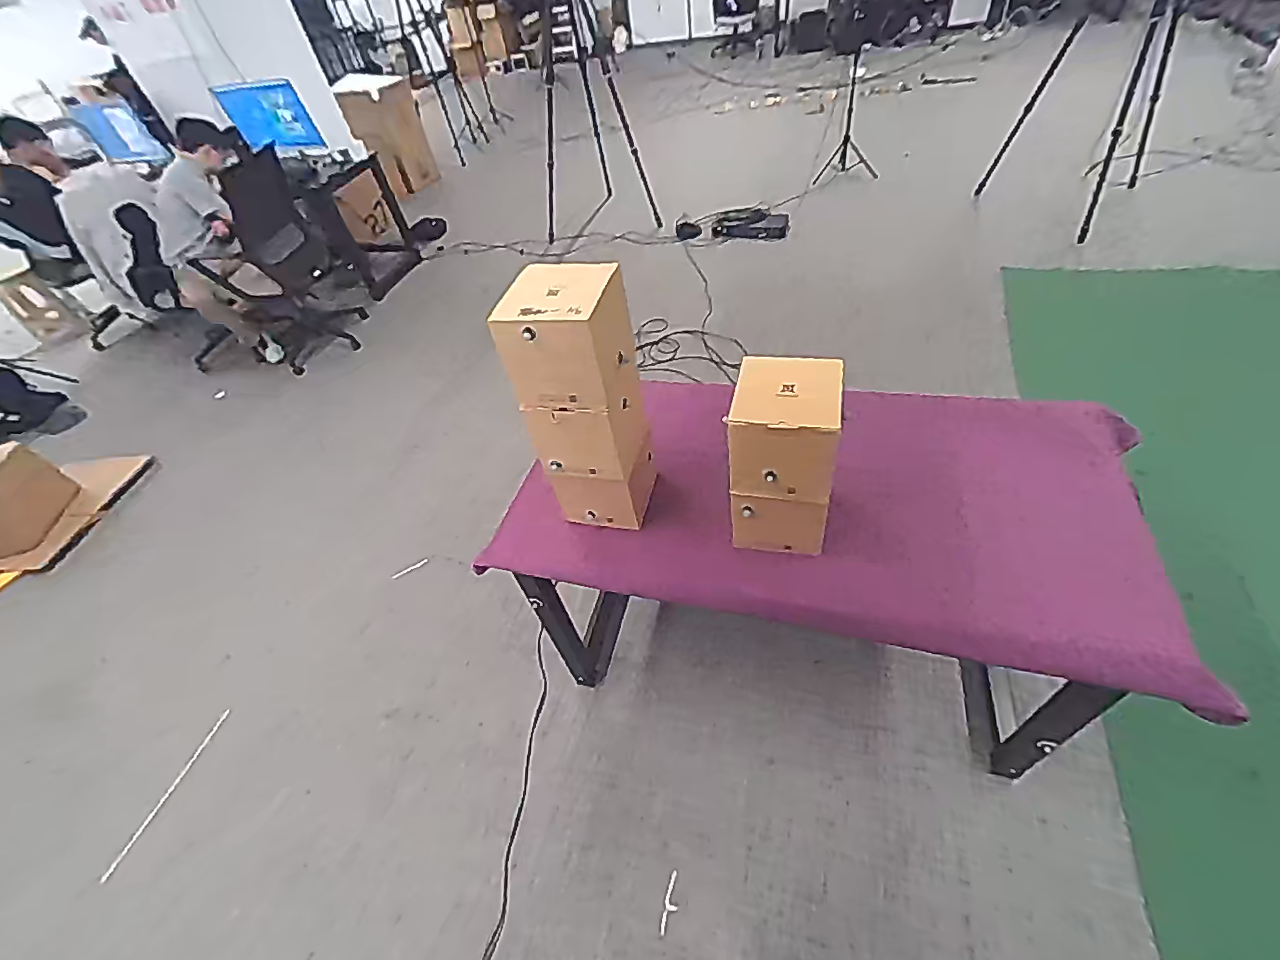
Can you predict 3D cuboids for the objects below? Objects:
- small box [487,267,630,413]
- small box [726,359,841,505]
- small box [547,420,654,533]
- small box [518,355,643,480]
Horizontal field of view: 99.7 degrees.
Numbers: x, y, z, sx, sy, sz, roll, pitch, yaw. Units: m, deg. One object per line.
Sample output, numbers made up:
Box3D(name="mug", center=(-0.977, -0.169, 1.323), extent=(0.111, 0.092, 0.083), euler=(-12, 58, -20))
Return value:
Box3D(name="small box", center=(-0.121, -0.234, 0.900), extent=(0.168, 0.176, 0.179), euler=(4, 48, 16))
Box3D(name="small box", center=(0.241, -0.083, 0.912), extent=(0.168, 0.176, 0.179), euler=(6, 49, 16))
Box3D(name="small box", center=(-0.073, -0.013, 1.137), extent=(0.168, 0.176, 0.179), euler=(5, 49, 16))
Box3D(name="small box", center=(-0.099, -0.117, 1.013), extent=(0.168, 0.176, 0.179), euler=(5, 47, 16))
